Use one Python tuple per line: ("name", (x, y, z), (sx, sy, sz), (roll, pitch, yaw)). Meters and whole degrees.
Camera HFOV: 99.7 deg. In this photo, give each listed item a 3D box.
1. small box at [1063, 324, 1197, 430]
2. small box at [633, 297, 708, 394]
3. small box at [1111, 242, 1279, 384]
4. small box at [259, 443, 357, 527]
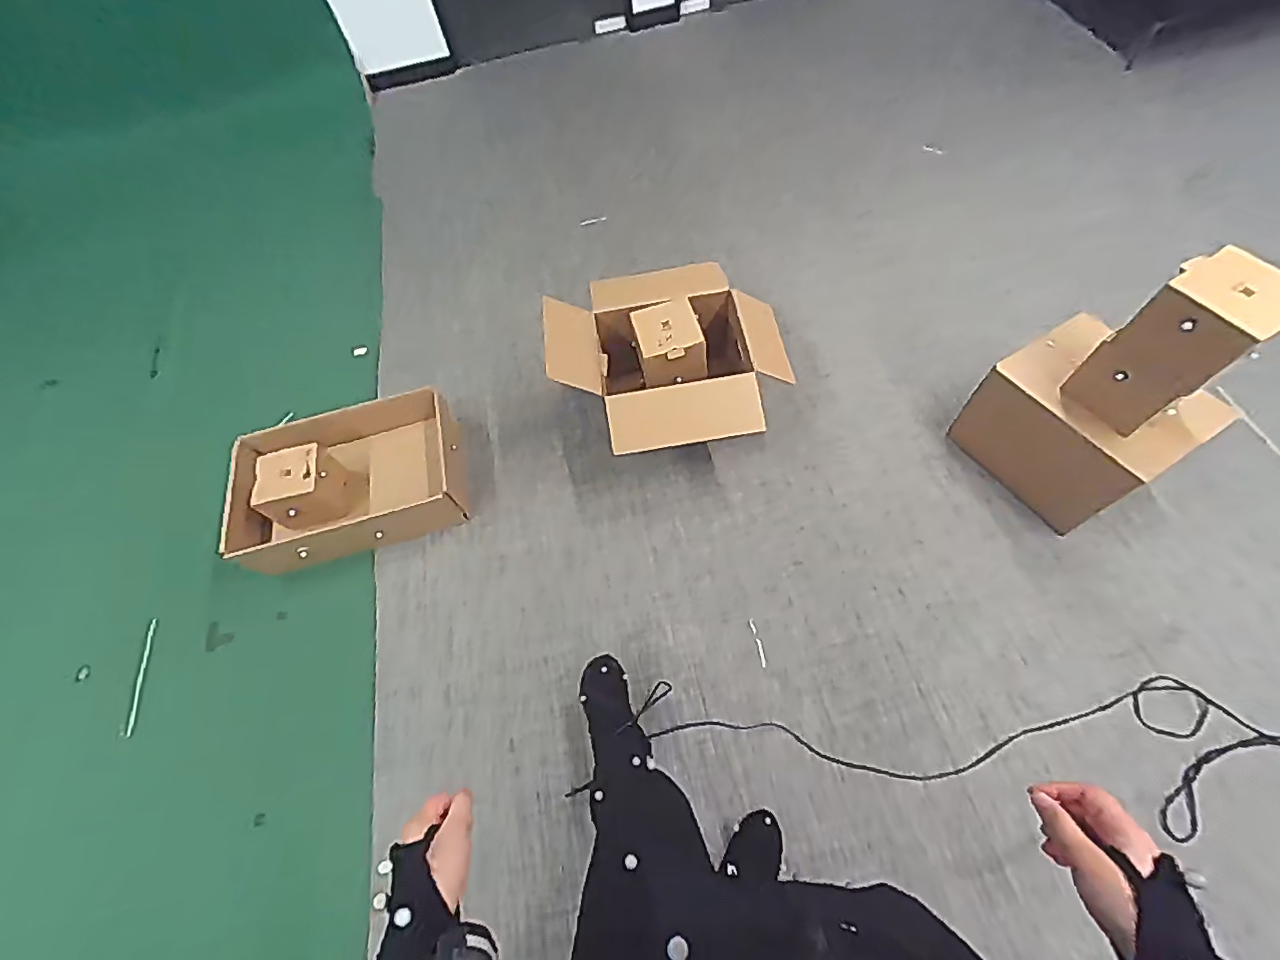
("small box", (1.099, -0.244, 1.190), (0.168, 0.176, 0.179), (-30, 63, -8))
("small box", (0.087, -0.372, 1.513), (0.168, 0.176, 0.179), (-16, 61, 1))
("small box", (1.086, -0.310, 1.042), (0.168, 0.176, 0.179), (-30, 62, -8))
("small box", (-0.962, 0.021, 1.578), (0.179, 0.176, 0.168), (-14, 60, -2))
